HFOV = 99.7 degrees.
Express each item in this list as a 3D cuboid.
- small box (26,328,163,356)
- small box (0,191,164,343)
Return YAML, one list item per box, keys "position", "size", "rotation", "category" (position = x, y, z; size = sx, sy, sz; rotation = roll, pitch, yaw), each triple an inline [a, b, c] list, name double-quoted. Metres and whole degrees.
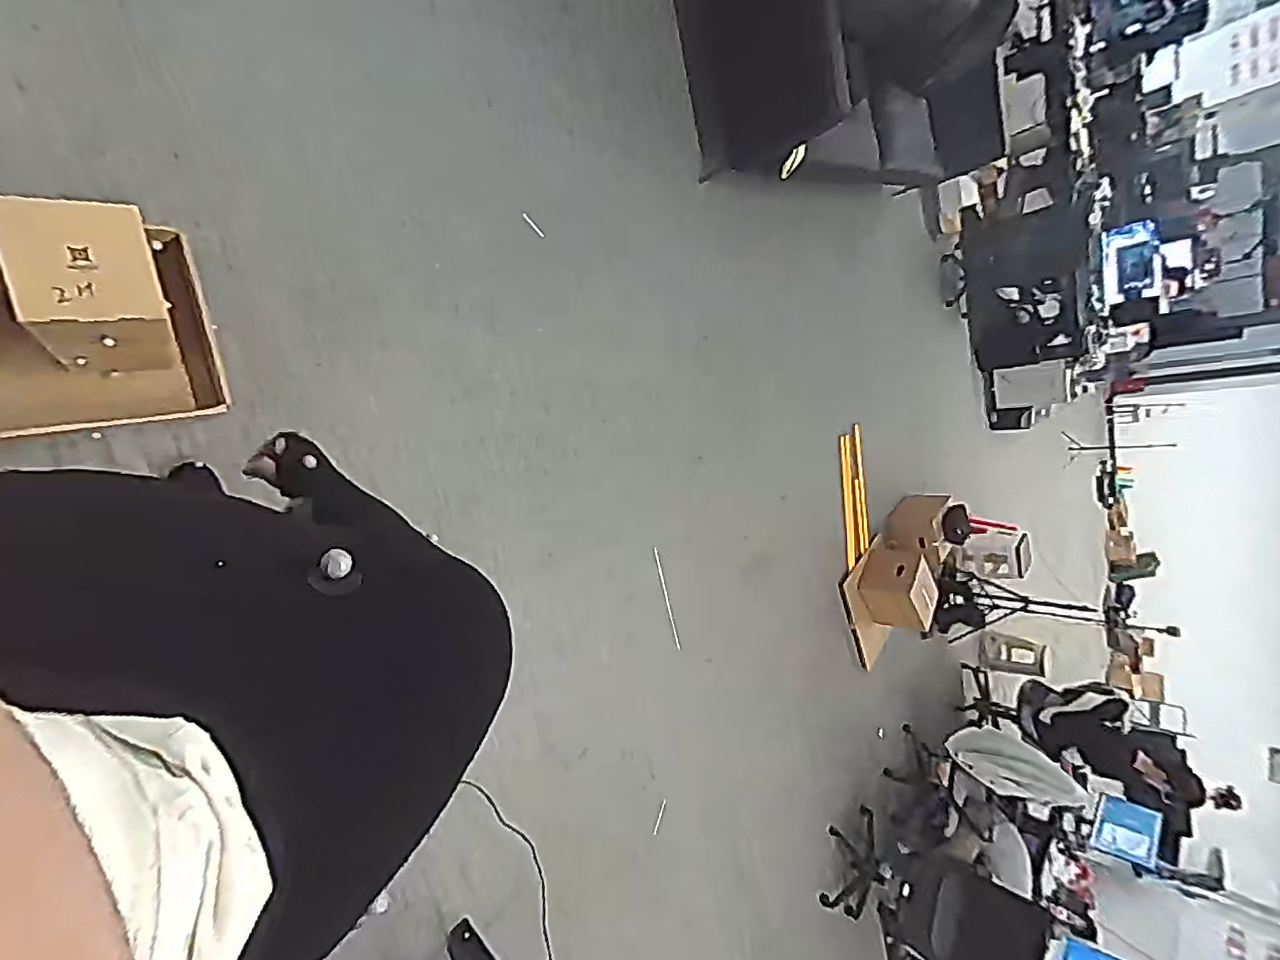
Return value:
- position: [-0.983, -0.322, 0.971]
  size: [0.168, 0.176, 0.179]
  rotation: [-14, 97, -40]
  category: "small box"
- position: [-0.876, -0.322, 0.846]
  size: [0.168, 0.176, 0.179]
  rotation: [-16, 100, -39]
  category: "small box"
